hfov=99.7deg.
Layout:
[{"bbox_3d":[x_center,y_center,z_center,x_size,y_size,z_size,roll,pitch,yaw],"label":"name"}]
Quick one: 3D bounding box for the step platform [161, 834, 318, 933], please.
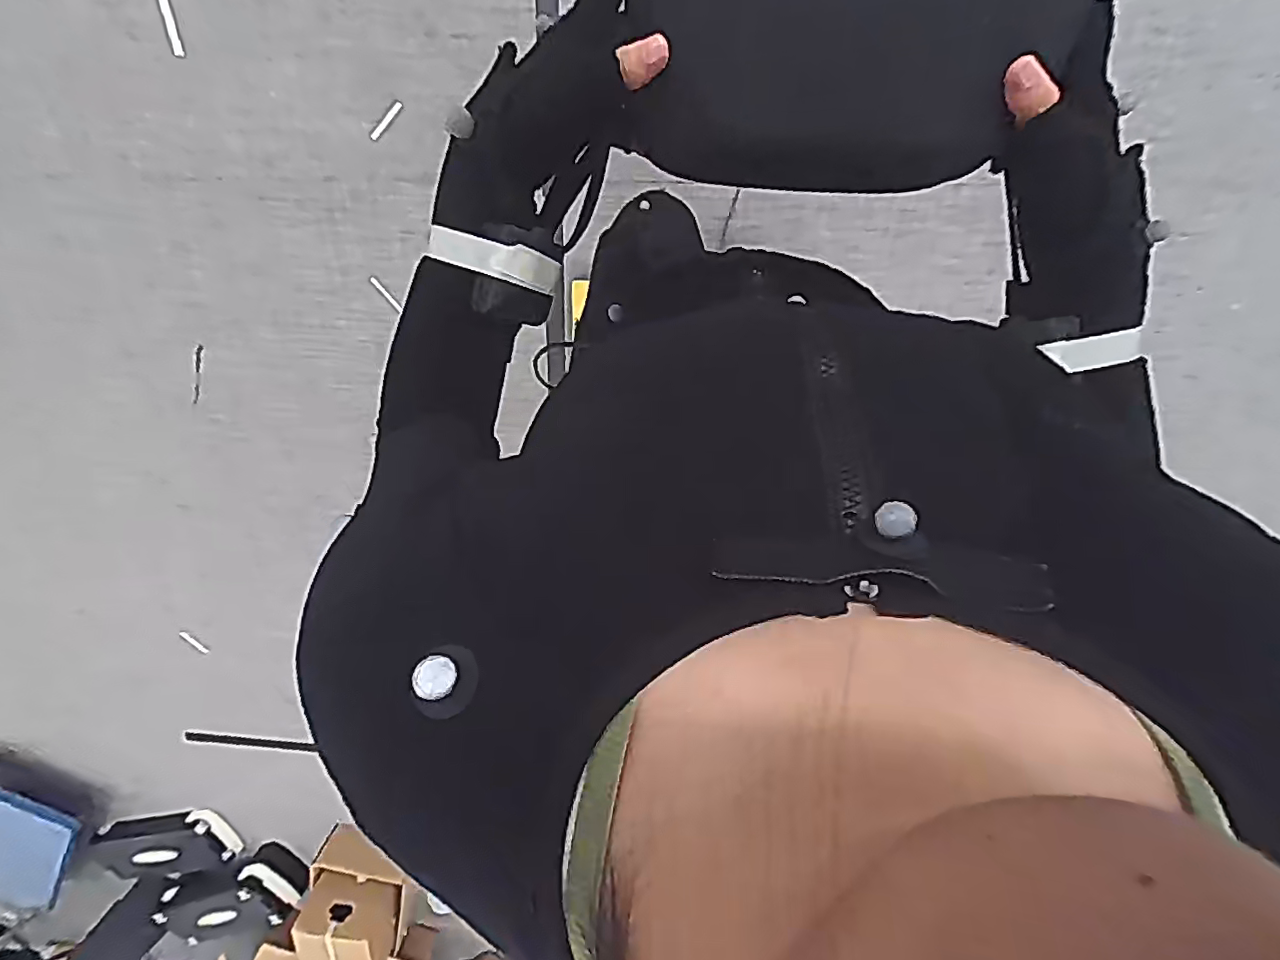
[{"bbox_3d":[-1.899,1.916,2.560,0.684,0.204,0.286,-25,111,14],"label":"step platform"}]
